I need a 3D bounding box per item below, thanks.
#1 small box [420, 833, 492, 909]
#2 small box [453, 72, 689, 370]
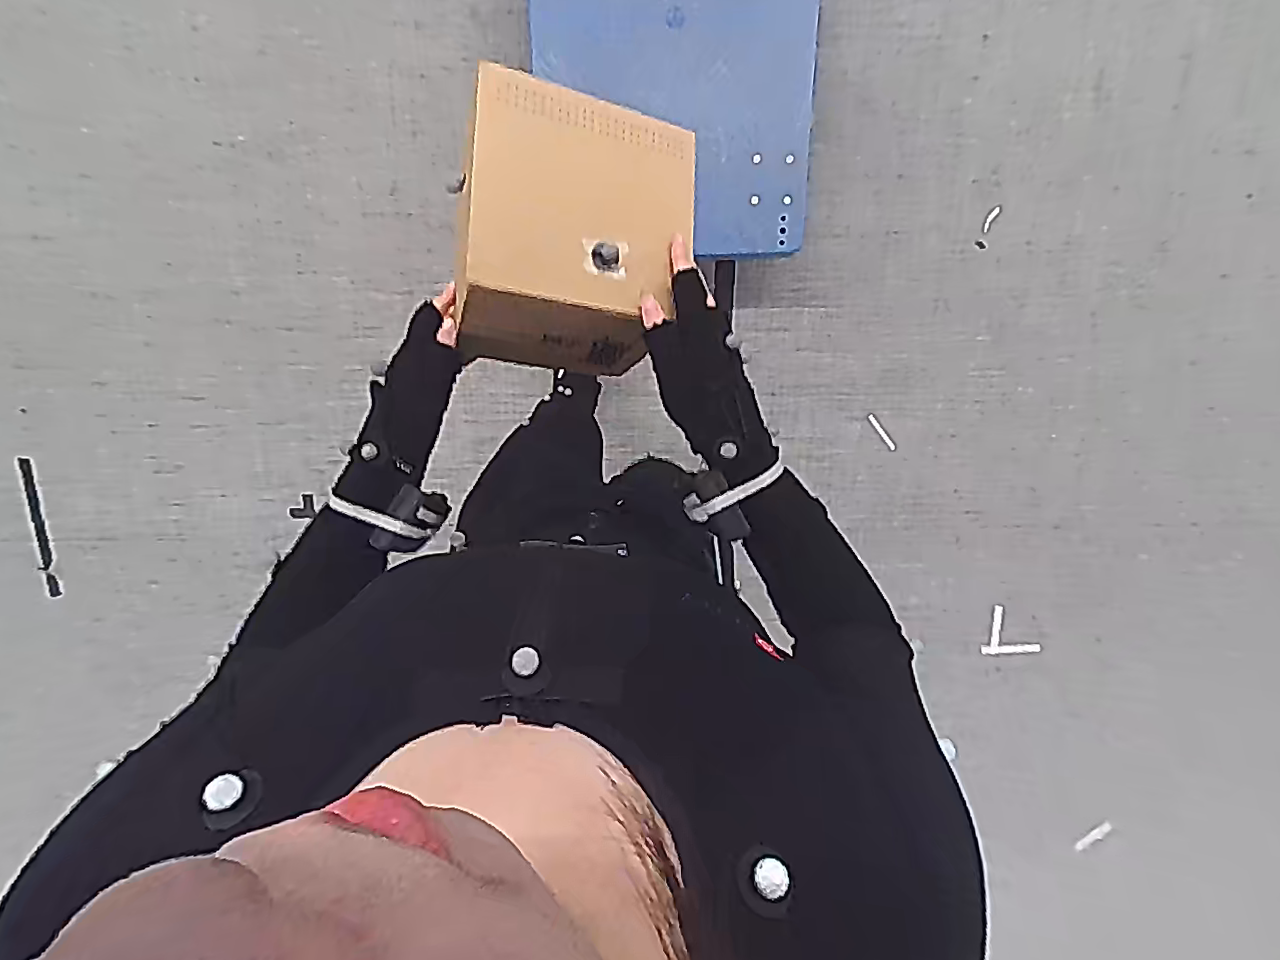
[{"bbox_3d":[-0.574,1.256,1.707,0.168,0.176,0.179,-2,104,0],"label":"small box"},{"bbox_3d":[-0.066,-0.211,0.485,0.179,0.168,0.176,5,84,-22],"label":"small box"}]
